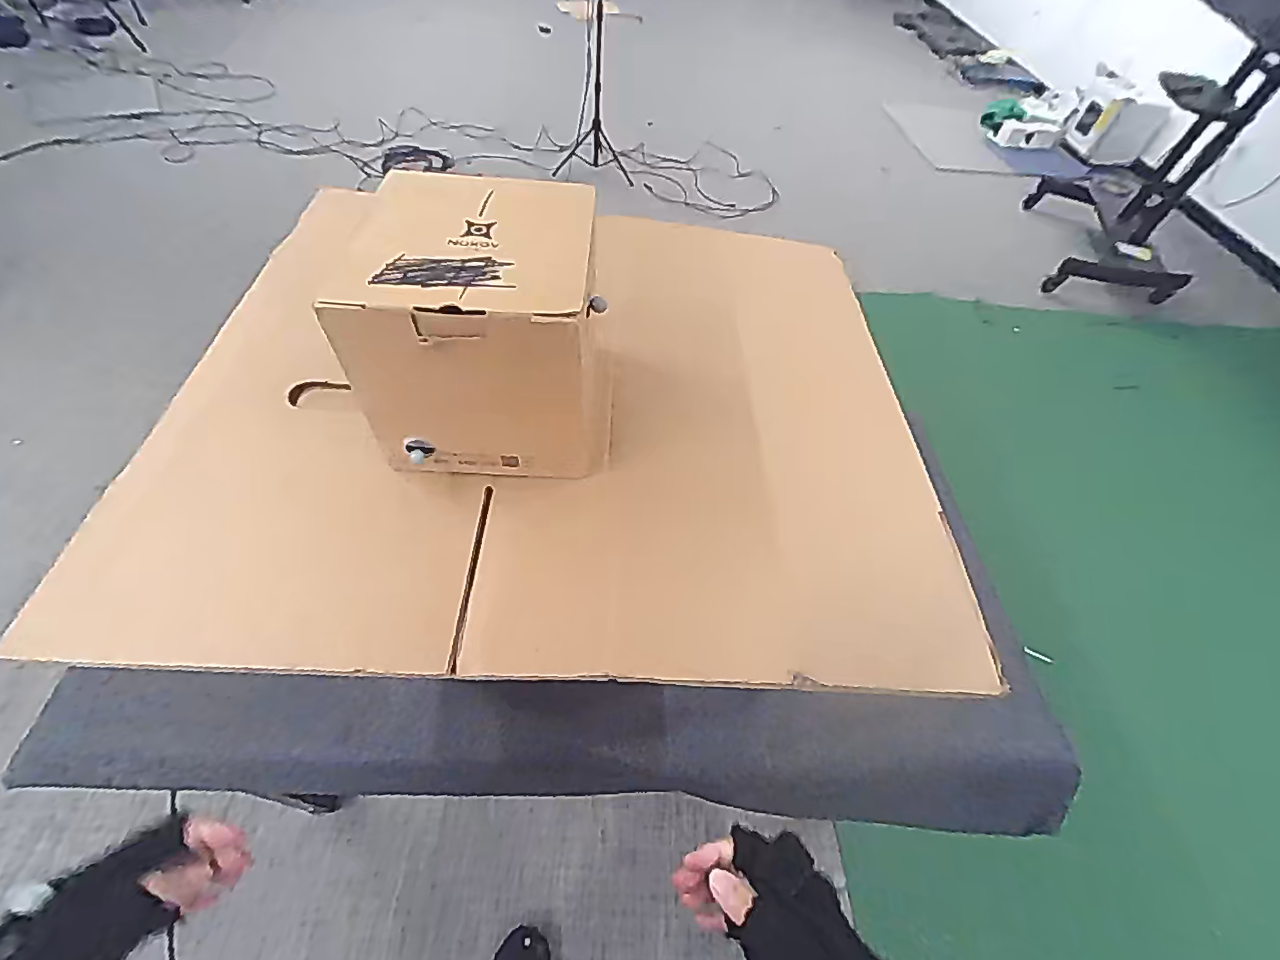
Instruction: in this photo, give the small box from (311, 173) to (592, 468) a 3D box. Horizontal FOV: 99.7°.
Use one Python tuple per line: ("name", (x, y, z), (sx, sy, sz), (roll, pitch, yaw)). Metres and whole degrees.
("small box", (-0.128, -0.126, 0.451), (0.168, 0.176, 0.179), (3, 53, -3))
